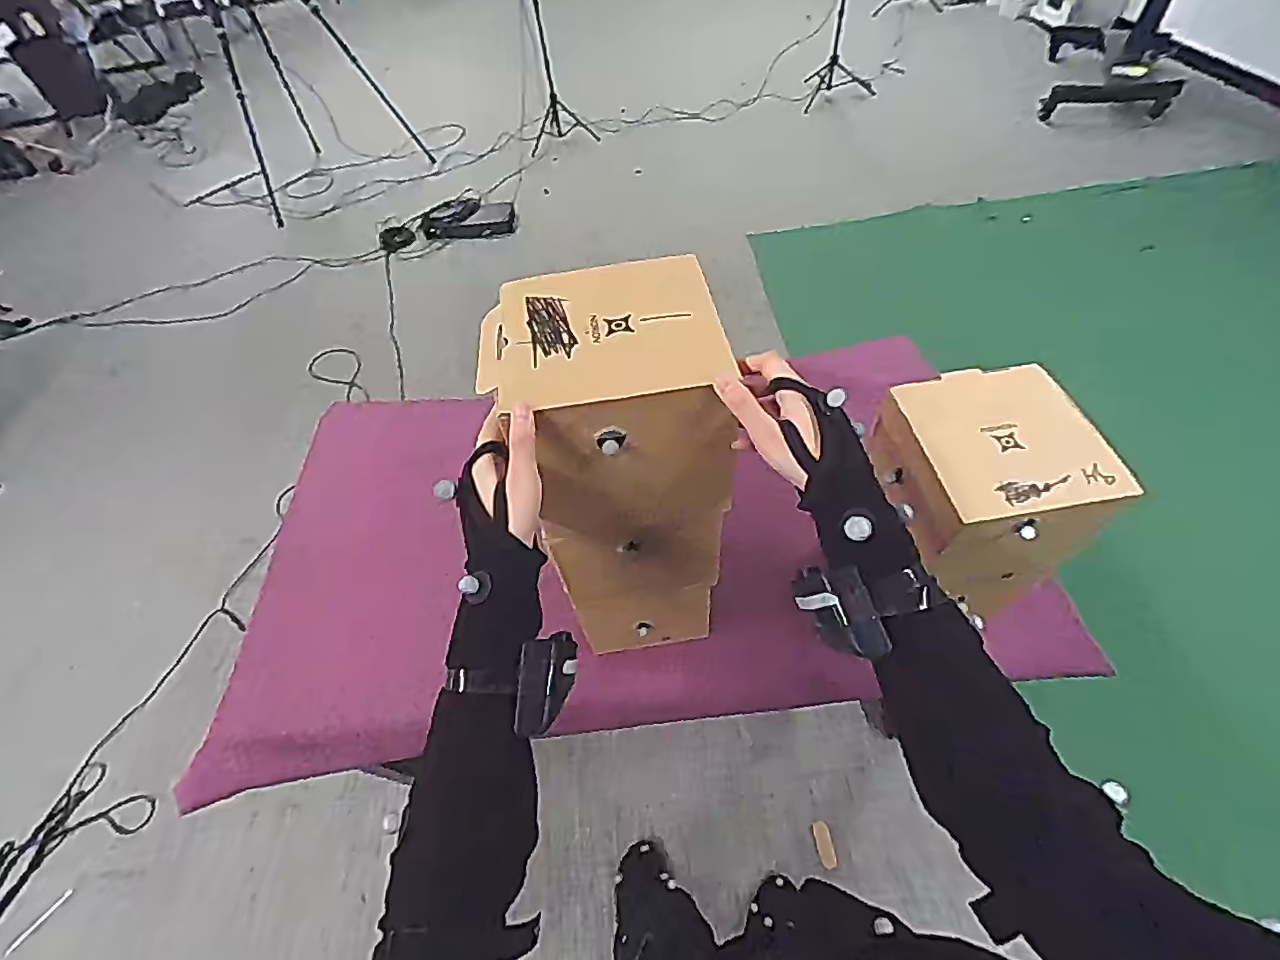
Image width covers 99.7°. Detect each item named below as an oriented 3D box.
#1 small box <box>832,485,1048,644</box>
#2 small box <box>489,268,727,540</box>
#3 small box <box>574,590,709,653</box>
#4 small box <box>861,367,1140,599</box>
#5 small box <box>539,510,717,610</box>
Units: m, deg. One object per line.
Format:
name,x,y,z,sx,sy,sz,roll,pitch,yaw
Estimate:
small box,0.380,0.105,0.726,0.179,0.176,0.168,-11,54,2
small box,-0.023,-0.062,0.494,0.179,0.176,0.168,-10,53,0
small box,0.002,0.130,0.760,0.168,0.176,0.179,-9,52,1
small box,0.364,0.007,0.595,0.168,0.176,0.179,-11,53,2
small box,-0.011,0.037,0.627,0.179,0.176,0.168,-9,53,1
